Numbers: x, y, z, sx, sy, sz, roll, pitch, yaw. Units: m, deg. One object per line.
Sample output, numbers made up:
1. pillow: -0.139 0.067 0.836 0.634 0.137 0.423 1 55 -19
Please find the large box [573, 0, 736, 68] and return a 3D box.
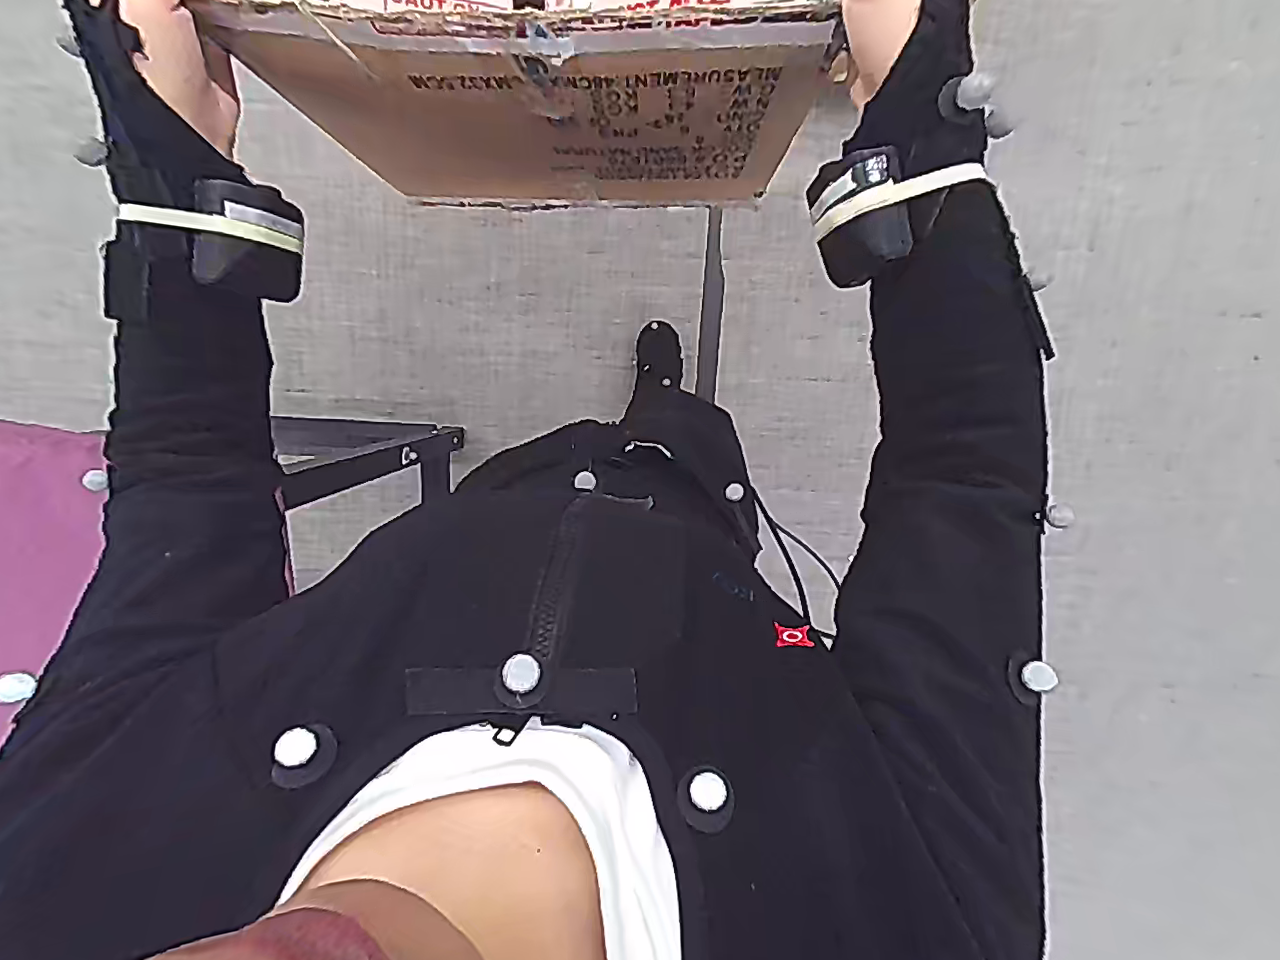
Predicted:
1. large box: 0.031 -1.084 1.017 0.320 0.320 0.408 2 101 2
